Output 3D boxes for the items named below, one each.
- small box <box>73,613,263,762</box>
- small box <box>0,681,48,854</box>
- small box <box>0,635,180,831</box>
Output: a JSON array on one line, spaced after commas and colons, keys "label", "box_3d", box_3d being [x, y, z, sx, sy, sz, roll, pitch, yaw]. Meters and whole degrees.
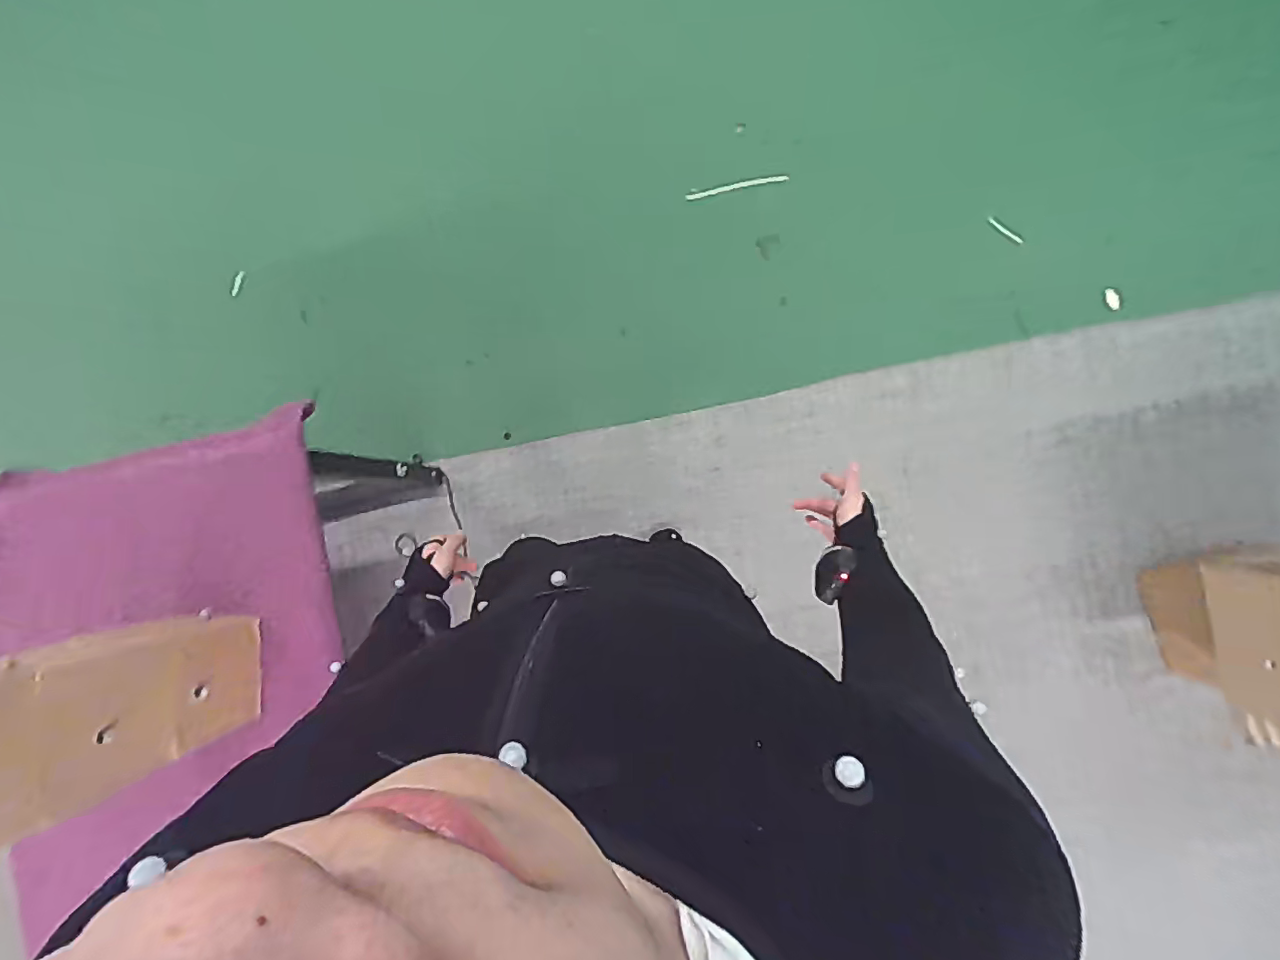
[{"label": "small box", "box_3d": [-0.731, 0.318, 0.853, 0.168, 0.176, 0.179, -2, 88, 2]}, {"label": "small box", "box_3d": [-0.746, 0.308, 0.525, 0.168, 0.176, 0.179, -6, 89, 2]}, {"label": "small box", "box_3d": [-0.737, 0.313, 0.690, 0.168, 0.176, 0.179, -5, 89, 1]}]
